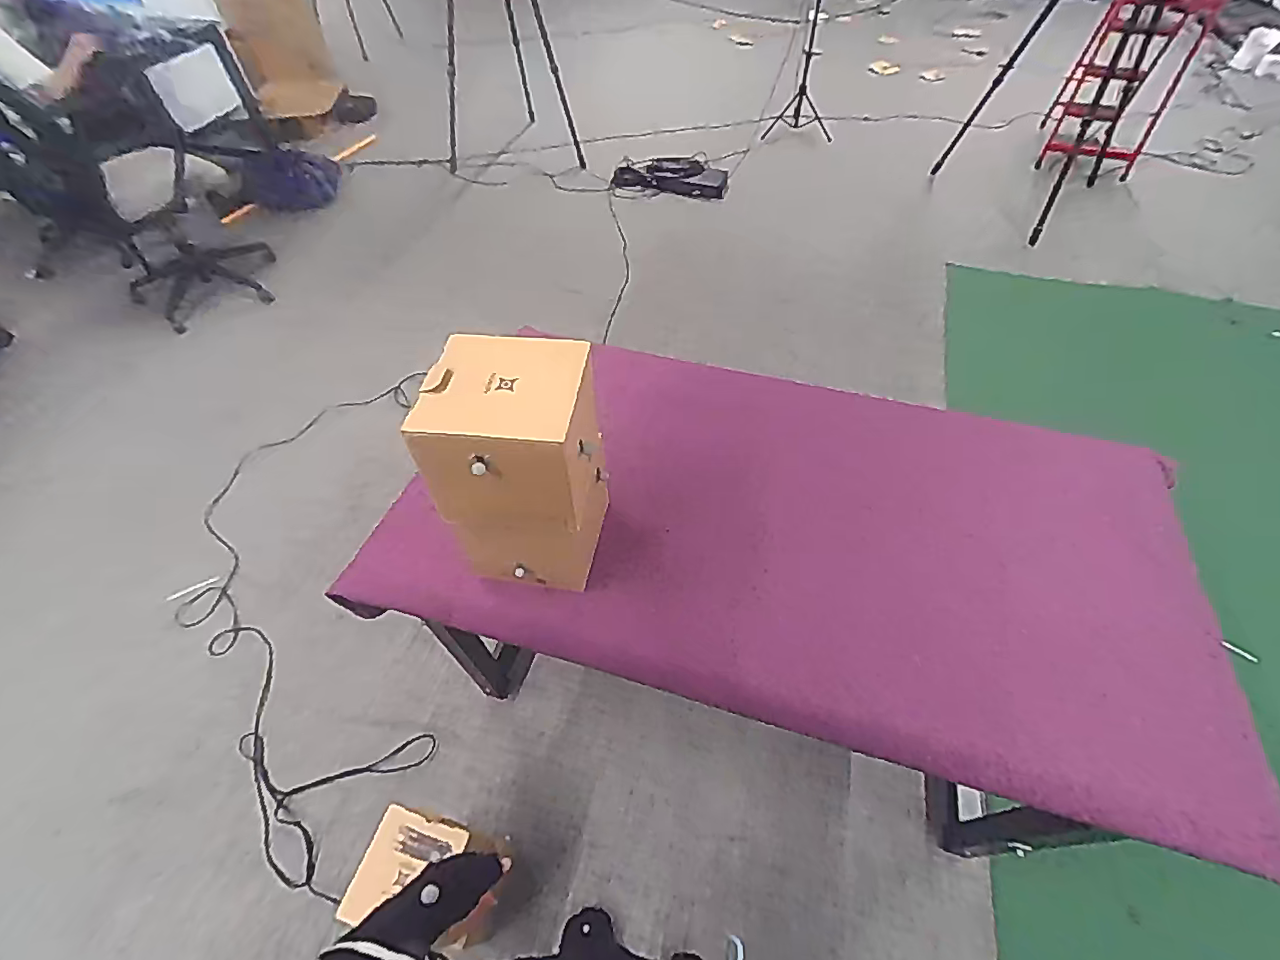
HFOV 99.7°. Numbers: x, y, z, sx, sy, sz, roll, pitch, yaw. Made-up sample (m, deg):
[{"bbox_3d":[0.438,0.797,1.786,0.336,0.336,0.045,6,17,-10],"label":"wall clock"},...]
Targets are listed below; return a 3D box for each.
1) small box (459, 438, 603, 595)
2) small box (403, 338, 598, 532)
[{"bbox_3d":[-0.153,0.043,0.798,0.168,0.176,0.179,9,52,7],"label":"small box"},{"bbox_3d":[-0.151,-0.051,0.664,0.179,0.176,0.168,5,52,4],"label":"small box"}]
